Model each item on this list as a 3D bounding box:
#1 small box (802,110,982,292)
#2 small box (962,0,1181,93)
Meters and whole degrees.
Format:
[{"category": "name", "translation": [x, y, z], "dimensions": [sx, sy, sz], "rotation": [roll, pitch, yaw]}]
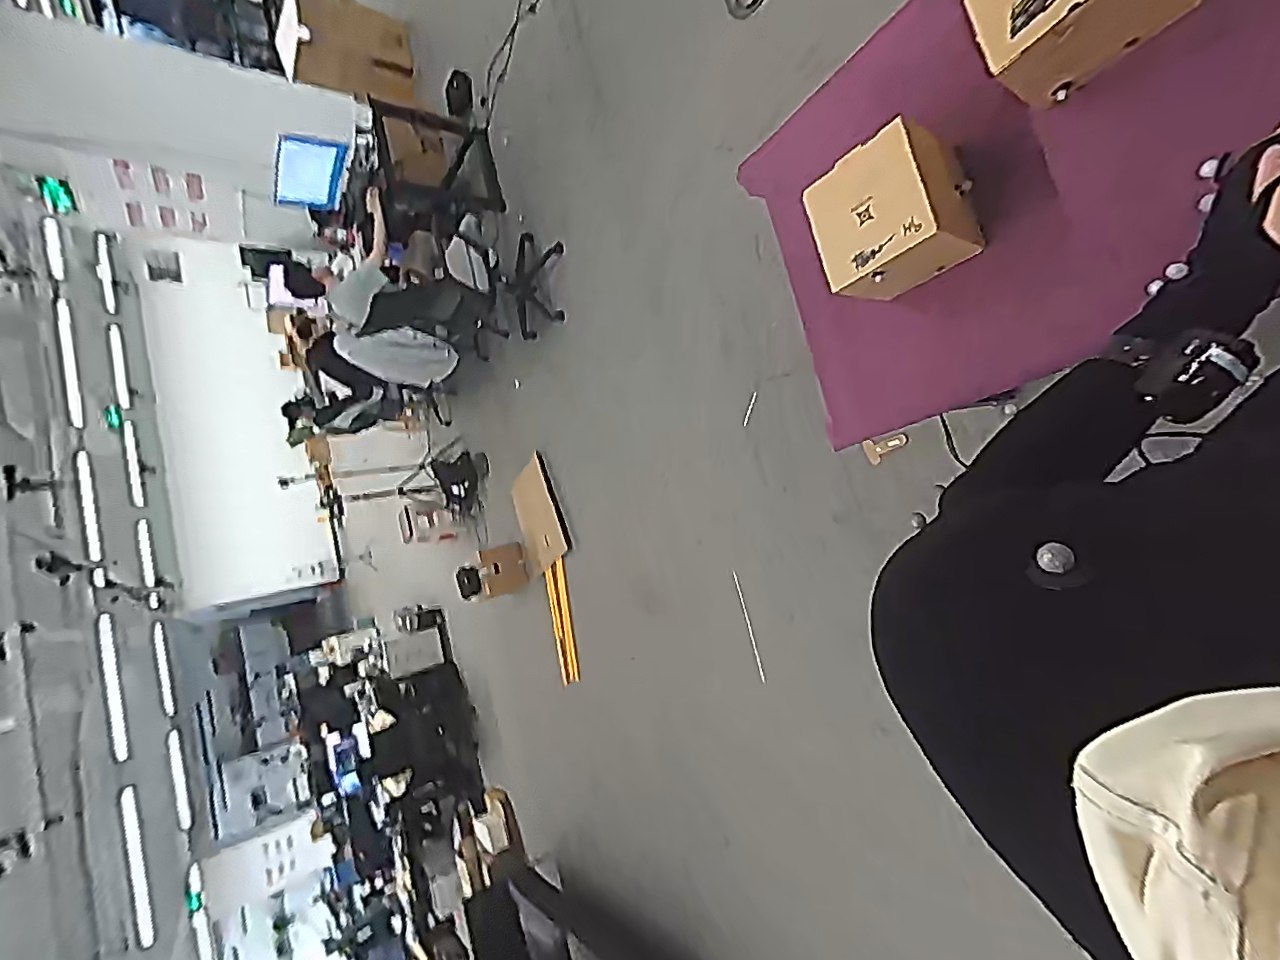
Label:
[{"category": "small box", "translation": [0.385, -0.409, 0.829], "dimensions": [0.168, 0.176, 0.179], "rotation": [-22, 79, 53]}, {"category": "small box", "translation": [0.503, -0.603, 0.638], "dimensions": [0.168, 0.176, 0.179], "rotation": [-25, 77, 52]}]
